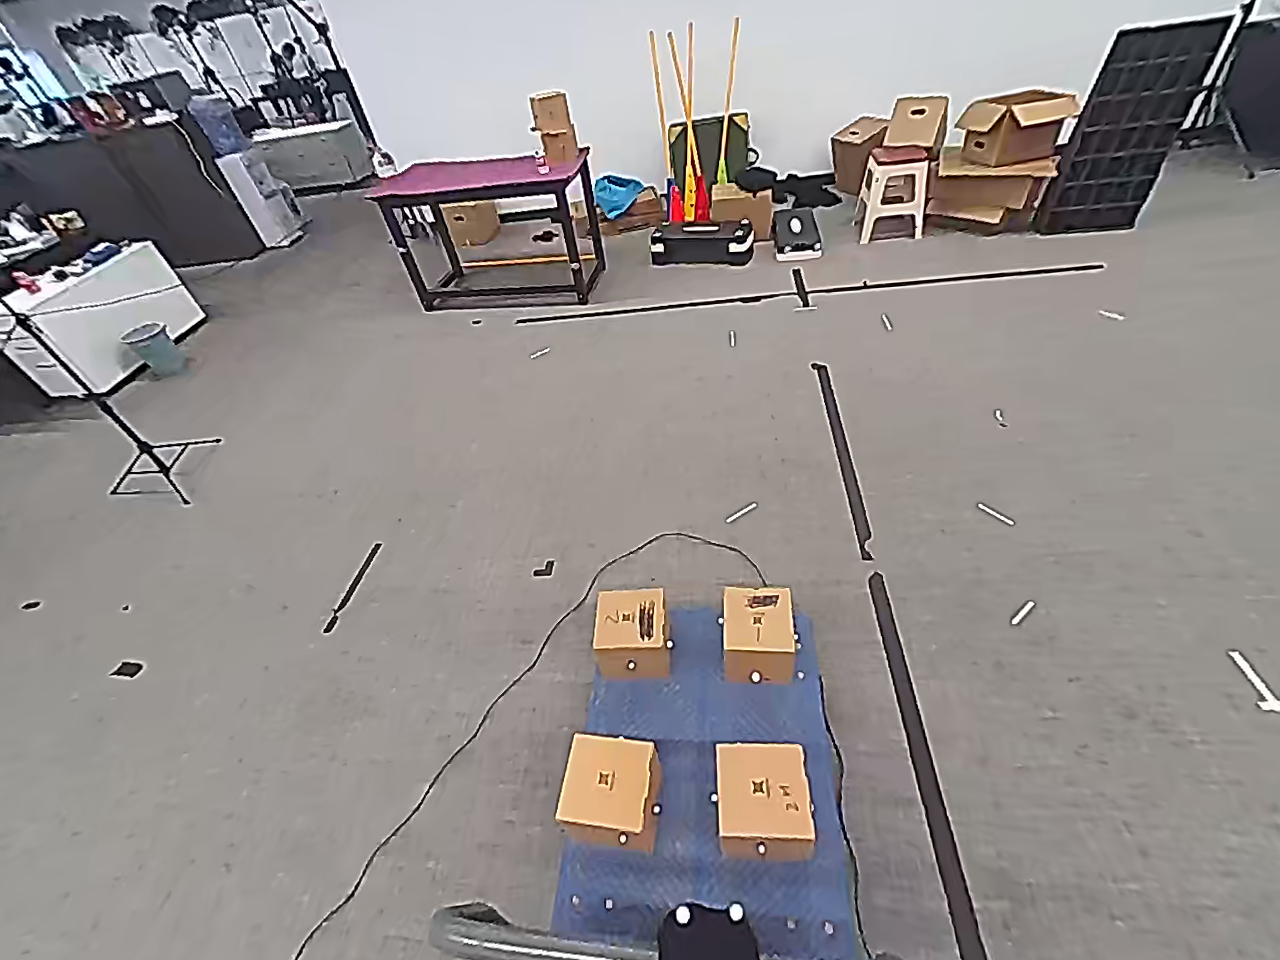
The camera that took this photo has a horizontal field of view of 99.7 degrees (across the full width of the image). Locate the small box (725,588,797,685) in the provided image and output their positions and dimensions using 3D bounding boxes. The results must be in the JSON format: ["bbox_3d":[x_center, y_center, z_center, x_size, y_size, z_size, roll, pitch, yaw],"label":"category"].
[{"bbox_3d":[0.299,0.392,1.361,0.168,0.176,0.179,-1,45,10],"label":"small box"}]

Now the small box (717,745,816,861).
[{"bbox_3d":[0.251,0.655,1.097,0.179,0.176,0.168,-3,44,8],"label":"small box"}]

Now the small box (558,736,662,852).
[{"bbox_3d":[-0.054,0.667,1.147,0.179,0.176,0.168,1,44,10],"label":"small box"}]
